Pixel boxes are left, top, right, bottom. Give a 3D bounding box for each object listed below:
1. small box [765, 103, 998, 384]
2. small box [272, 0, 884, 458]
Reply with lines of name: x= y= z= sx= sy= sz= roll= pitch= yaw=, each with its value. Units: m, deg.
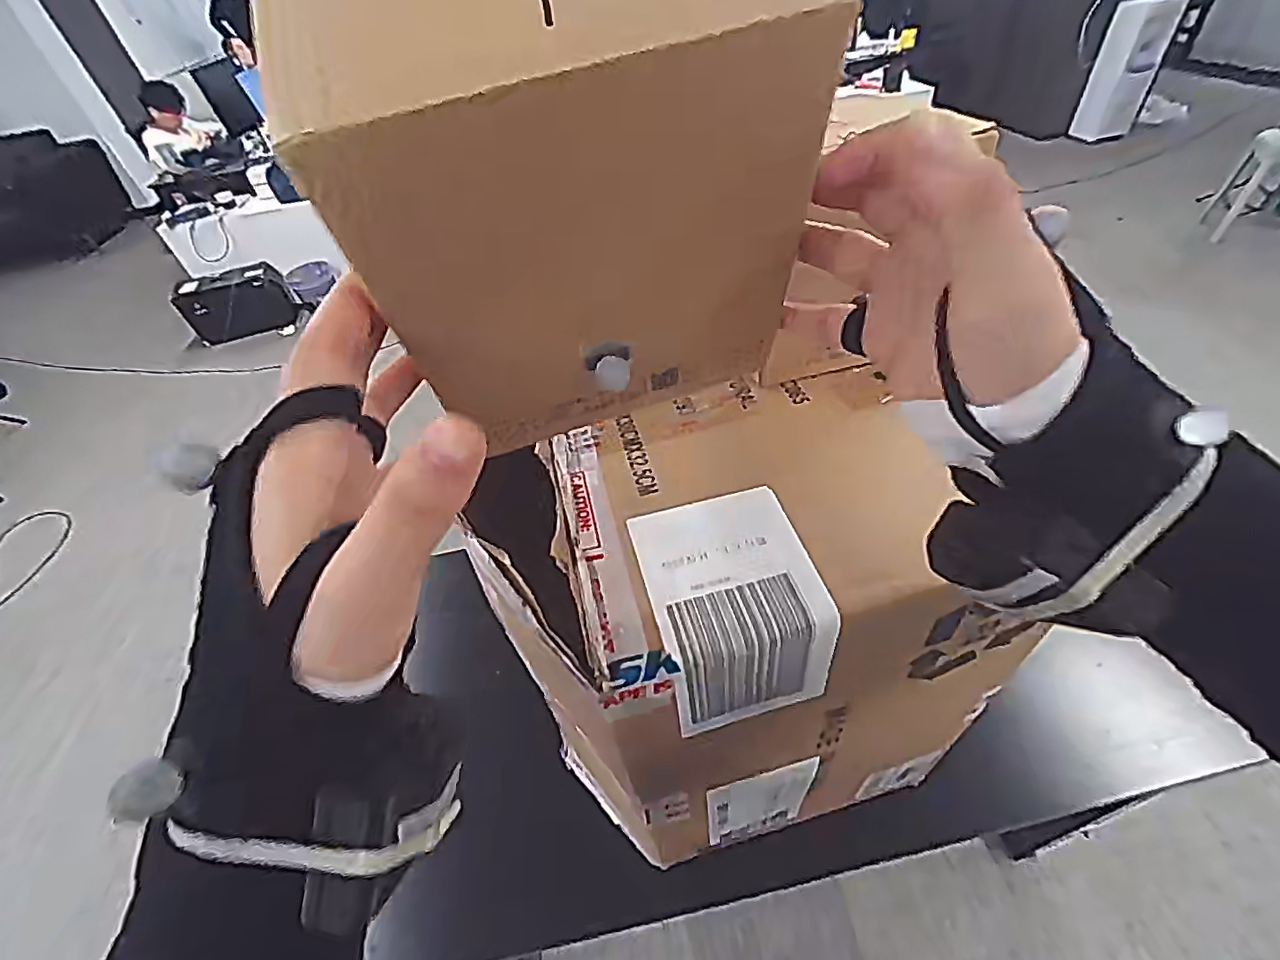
small box: x=0.154 y=-0.209 z=0.473 sx=0.168 sy=0.176 sz=0.179 roll=-14 pitch=44 yaw=-6
small box: x=-0.032 y=-0.138 z=0.248 sx=0.168 sy=0.176 sz=0.179 roll=-18 pitch=65 yaw=-5
